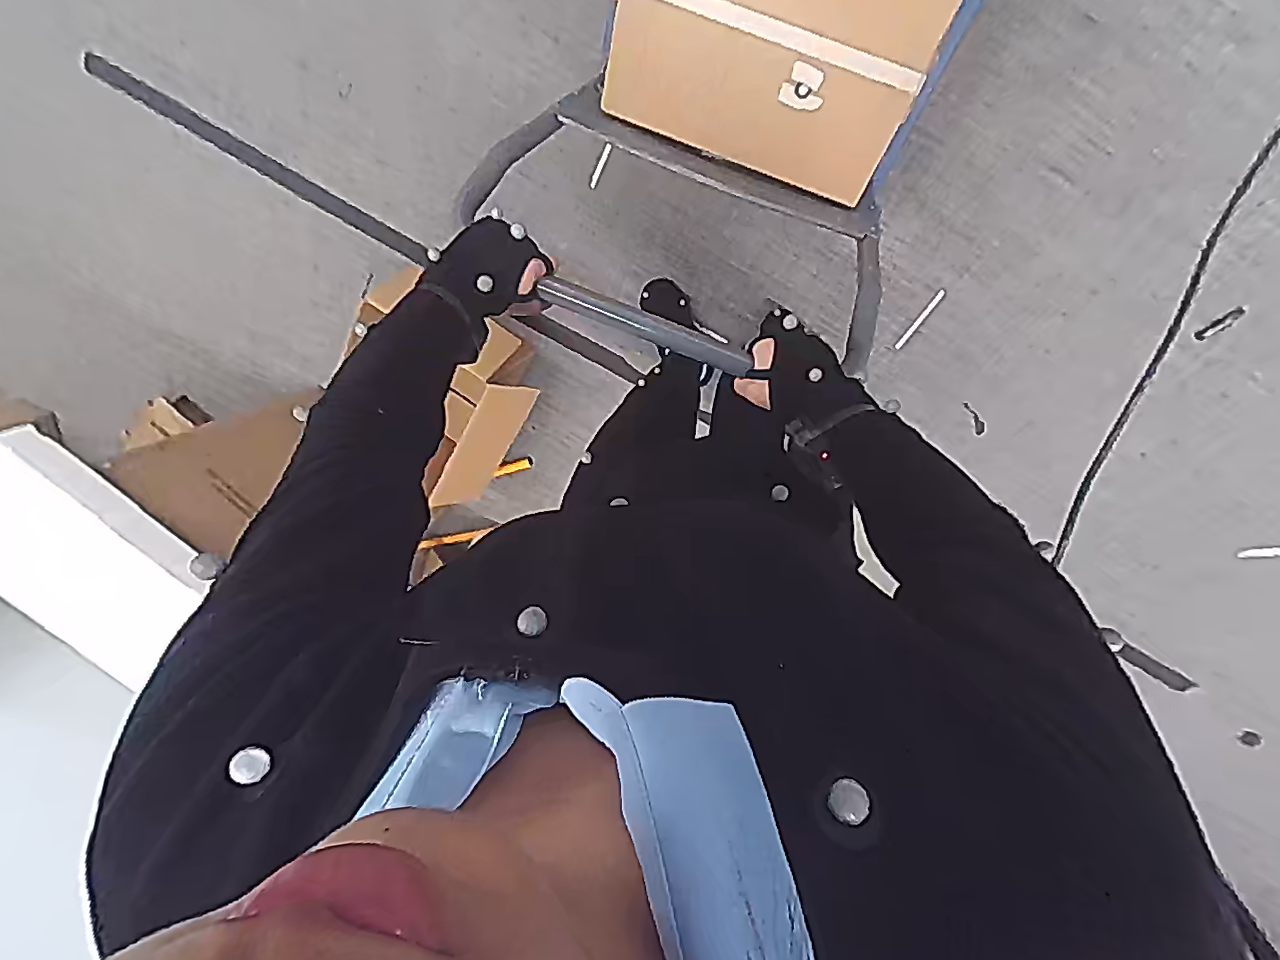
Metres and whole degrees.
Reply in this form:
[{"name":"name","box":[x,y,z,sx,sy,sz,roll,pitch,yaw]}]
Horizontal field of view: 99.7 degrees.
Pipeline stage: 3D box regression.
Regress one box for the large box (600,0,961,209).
[{"name":"large box","box":[0.196,-0.659,0.789,0.408,0.320,0.320,21,135,-1]}]
